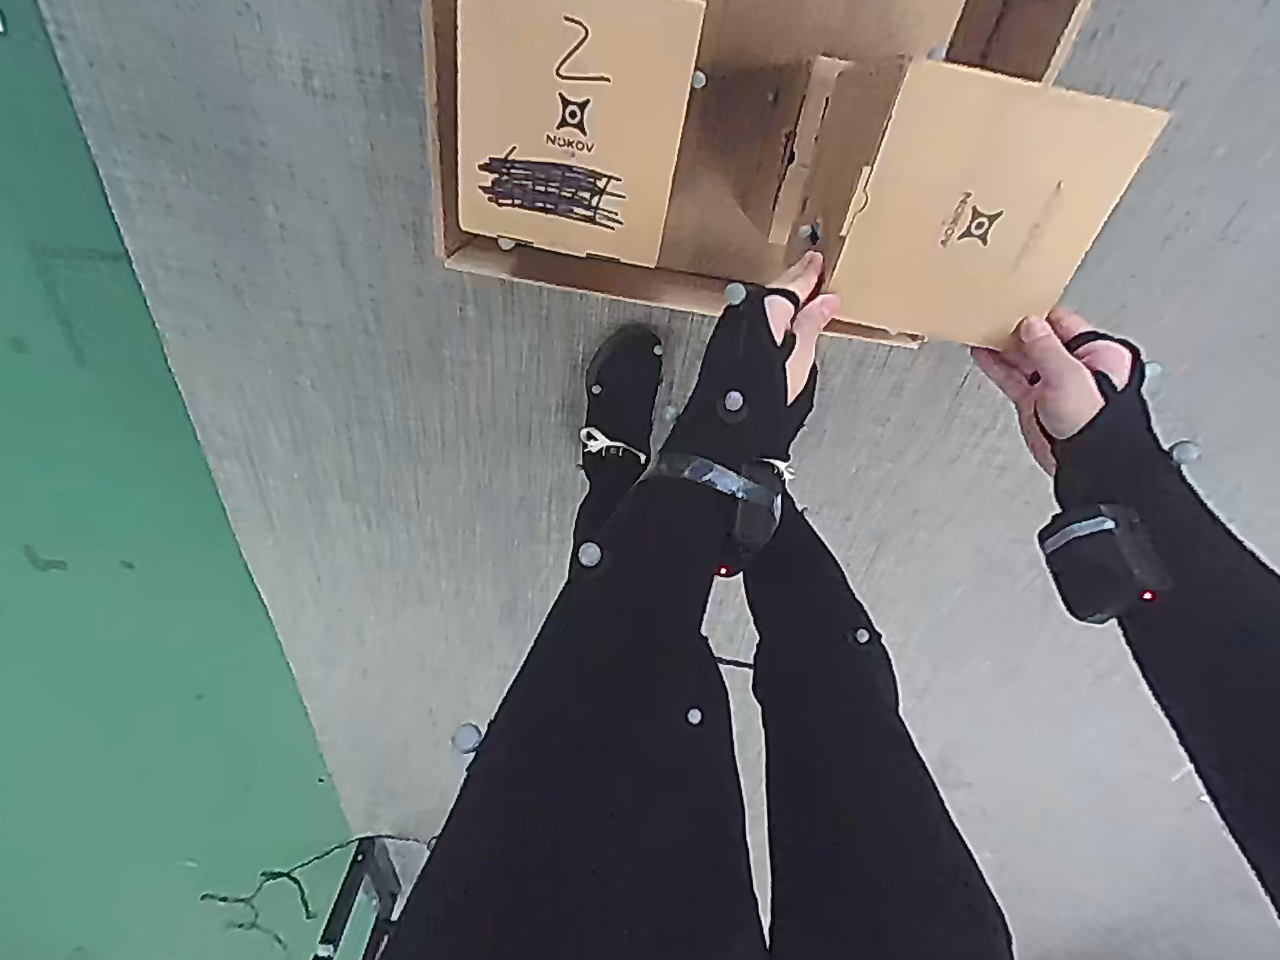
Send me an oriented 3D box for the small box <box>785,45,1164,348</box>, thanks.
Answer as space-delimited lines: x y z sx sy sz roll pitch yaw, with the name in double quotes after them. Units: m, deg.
0.236 -0.230 0.445 0.179 0.176 0.168 9 125 -4 "small box"
